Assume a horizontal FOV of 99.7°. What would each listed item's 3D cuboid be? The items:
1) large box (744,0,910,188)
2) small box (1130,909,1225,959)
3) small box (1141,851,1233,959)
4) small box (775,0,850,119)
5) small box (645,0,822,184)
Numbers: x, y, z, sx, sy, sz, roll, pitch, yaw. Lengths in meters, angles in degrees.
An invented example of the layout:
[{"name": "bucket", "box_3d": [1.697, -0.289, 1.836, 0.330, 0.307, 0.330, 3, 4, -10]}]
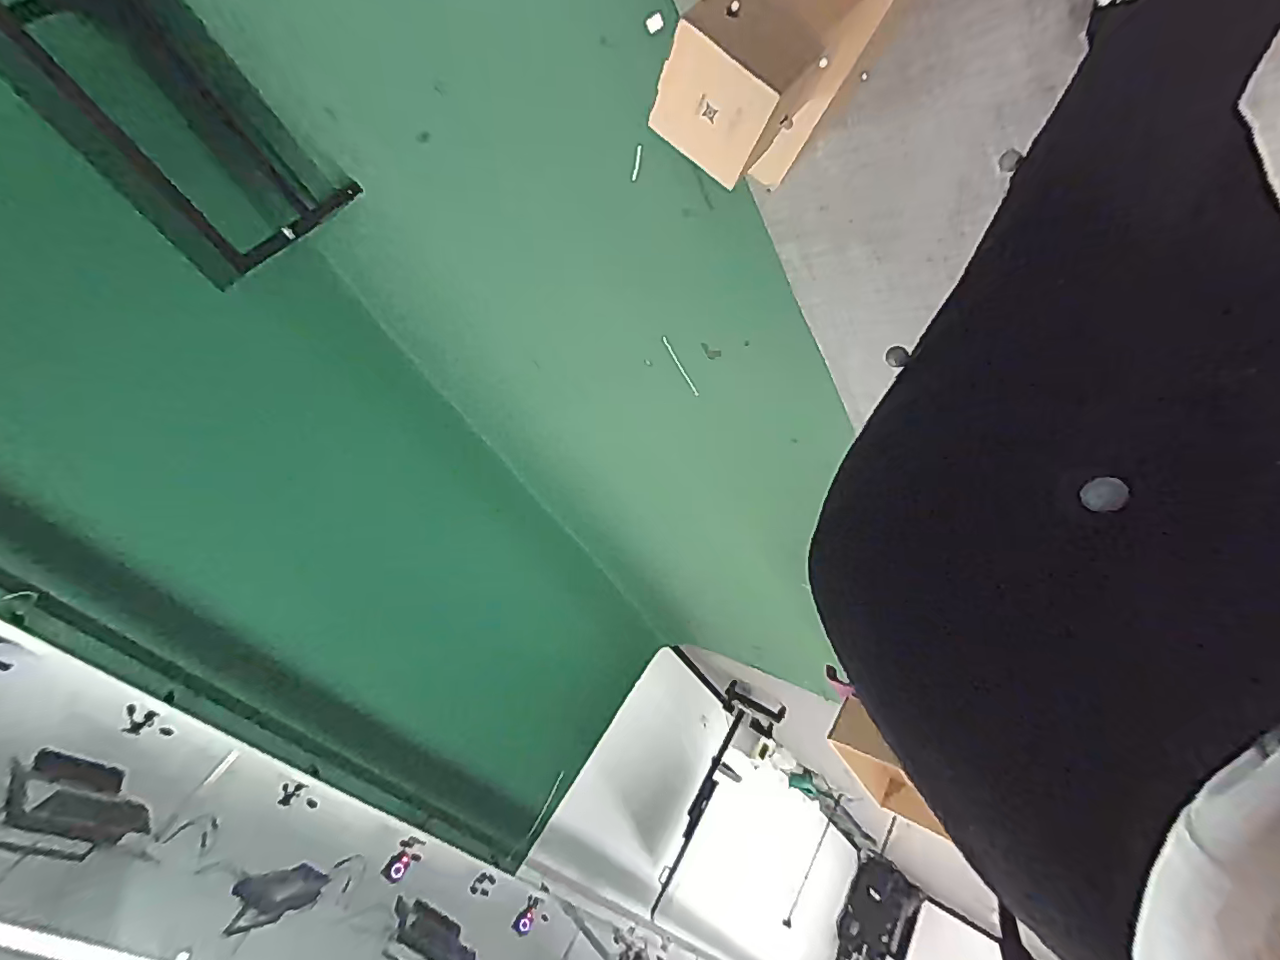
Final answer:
[{"name": "large box", "box_3d": [0.314, -0.908, 1.073, 0.320, 0.320, 0.408, 39, 156, 0]}, {"name": "small box", "box_3d": [1.415, 1.291, 1.428, 0.168, 0.176, 0.179, 7, 141, 47]}, {"name": "small box", "box_3d": [1.508, 1.171, 1.492, 0.168, 0.176, 0.179, 3, 139, 50]}, {"name": "small box", "box_3d": [0.223, -0.735, 0.903, 0.168, 0.176, 0.179, 37, 155, -1]}, {"name": "small box", "box_3d": [0.141, -0.612, 0.833, 0.179, 0.176, 0.168, 37, 156, -3]}]
